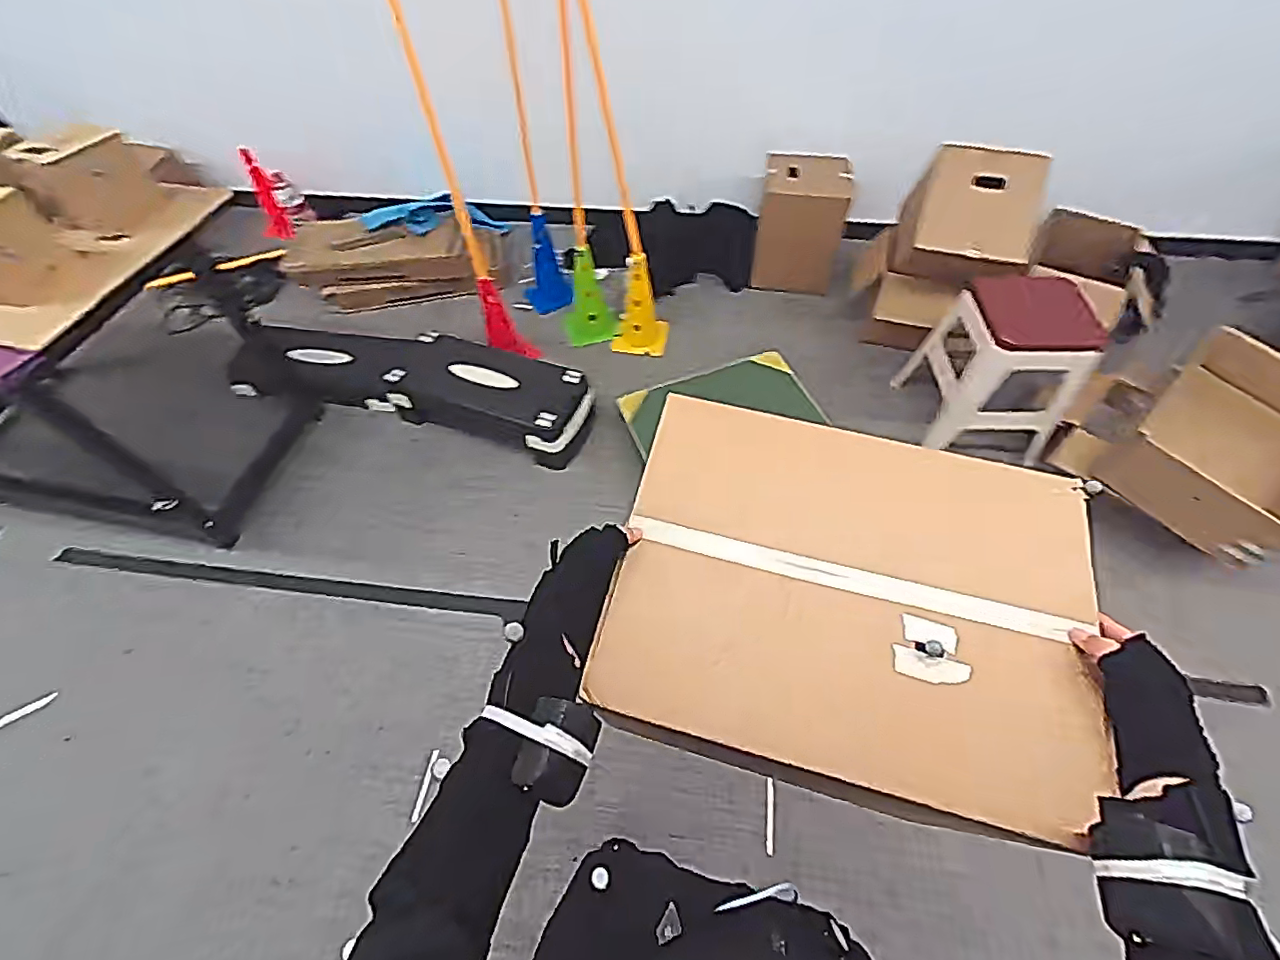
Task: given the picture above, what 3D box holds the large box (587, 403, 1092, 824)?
[{"bbox_3d":[0.180,0.155,0.622,0.408,0.320,0.320,13,64,7],"label":"large box"}]
